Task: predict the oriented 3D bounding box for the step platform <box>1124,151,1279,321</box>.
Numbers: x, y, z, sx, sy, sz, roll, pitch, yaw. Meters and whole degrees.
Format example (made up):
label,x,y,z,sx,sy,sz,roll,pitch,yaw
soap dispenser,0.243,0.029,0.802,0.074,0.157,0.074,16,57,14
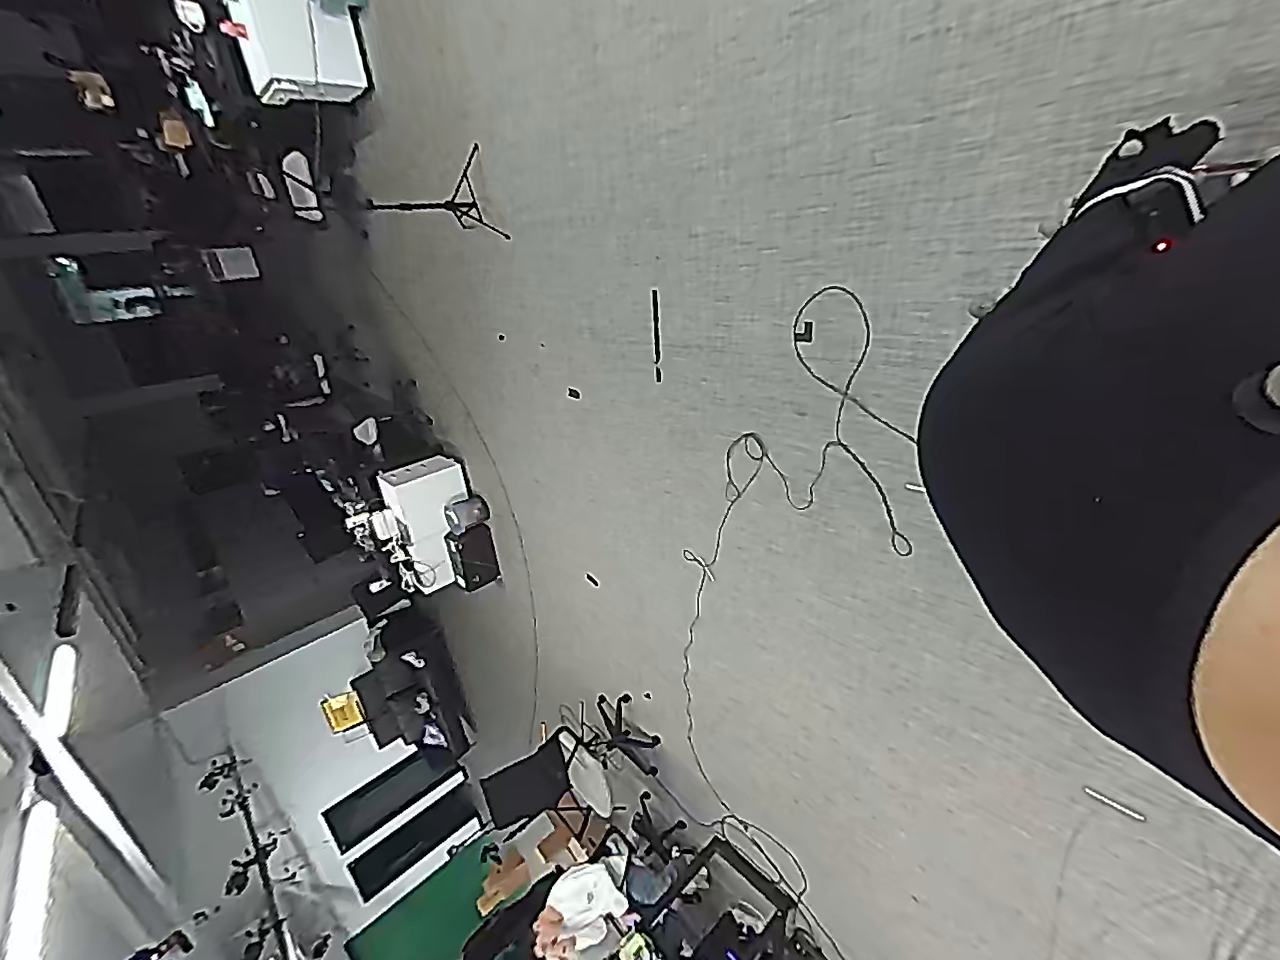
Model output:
label,x,y,z,sx,sy,sz,roll,pitch,yaw
step platform,1.262,-0.416,0.894,0.684,0.204,0.286,17,123,43
